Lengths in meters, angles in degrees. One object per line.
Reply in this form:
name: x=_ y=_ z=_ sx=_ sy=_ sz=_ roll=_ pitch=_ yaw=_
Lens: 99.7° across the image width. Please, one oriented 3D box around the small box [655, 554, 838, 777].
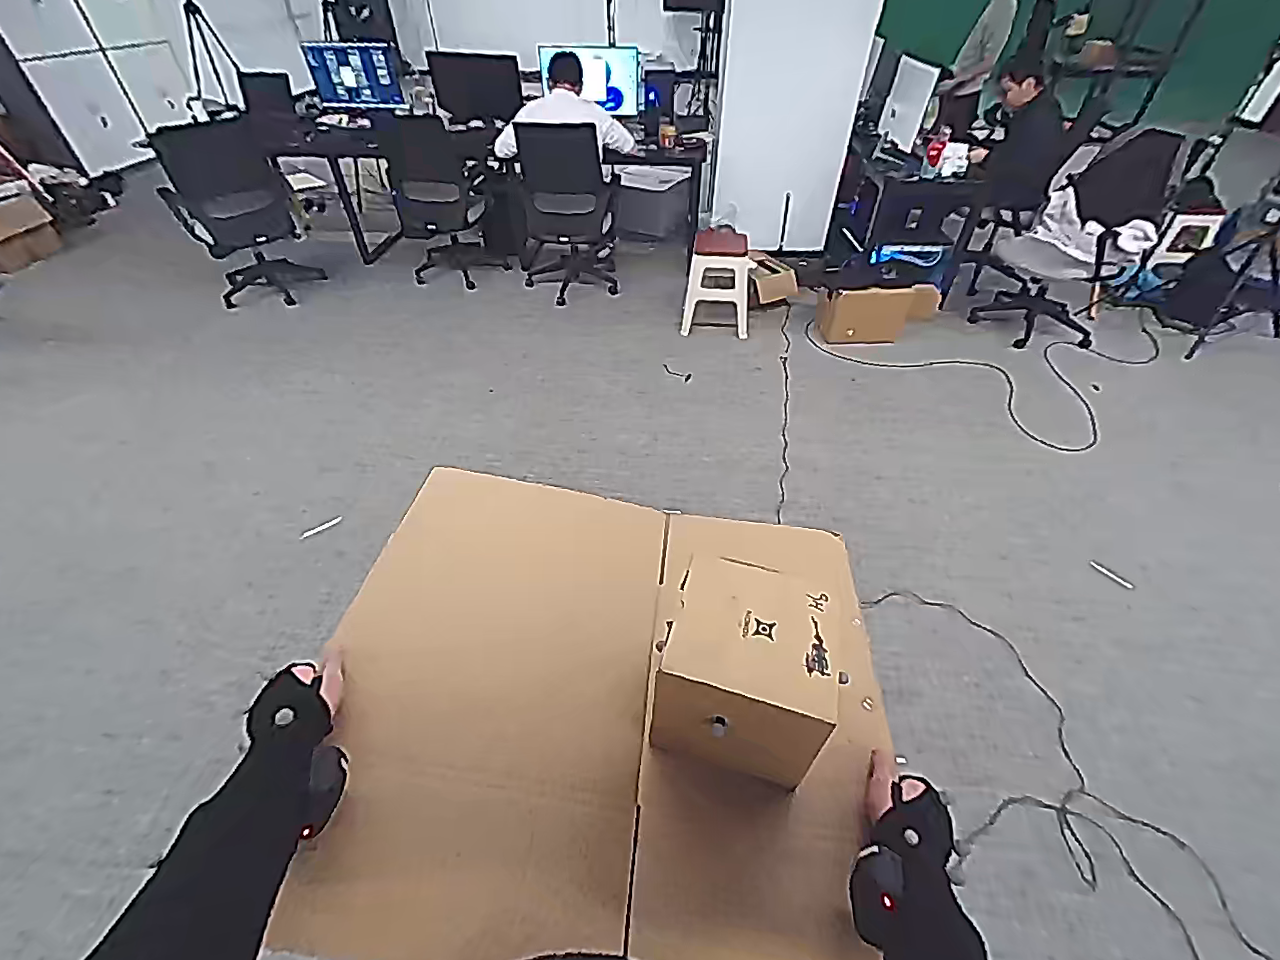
small box: x=0.121 y=0.218 z=0.636 sx=0.179 sy=0.176 sz=0.168 roll=12 pitch=43 yaw=11
